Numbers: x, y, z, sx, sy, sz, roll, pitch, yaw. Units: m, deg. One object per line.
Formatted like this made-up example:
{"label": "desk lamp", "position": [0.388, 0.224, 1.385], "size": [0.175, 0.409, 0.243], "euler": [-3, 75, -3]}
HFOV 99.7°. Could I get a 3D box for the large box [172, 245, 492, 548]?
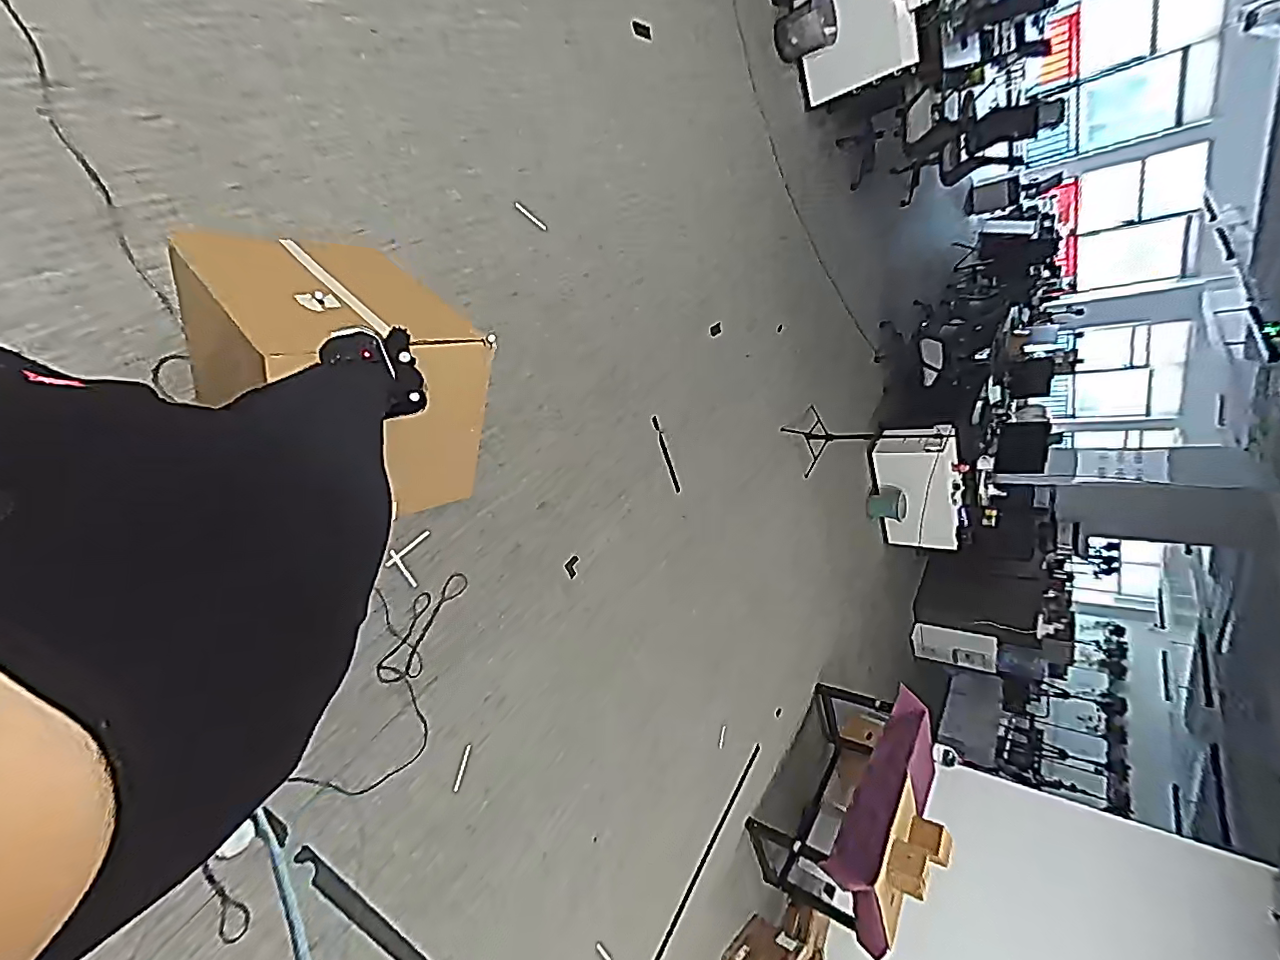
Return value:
{"label": "large box", "position": [-0.517, -0.159, 0.917], "size": [0.320, 0.408, 0.320], "euler": [-21, 141, -45]}
